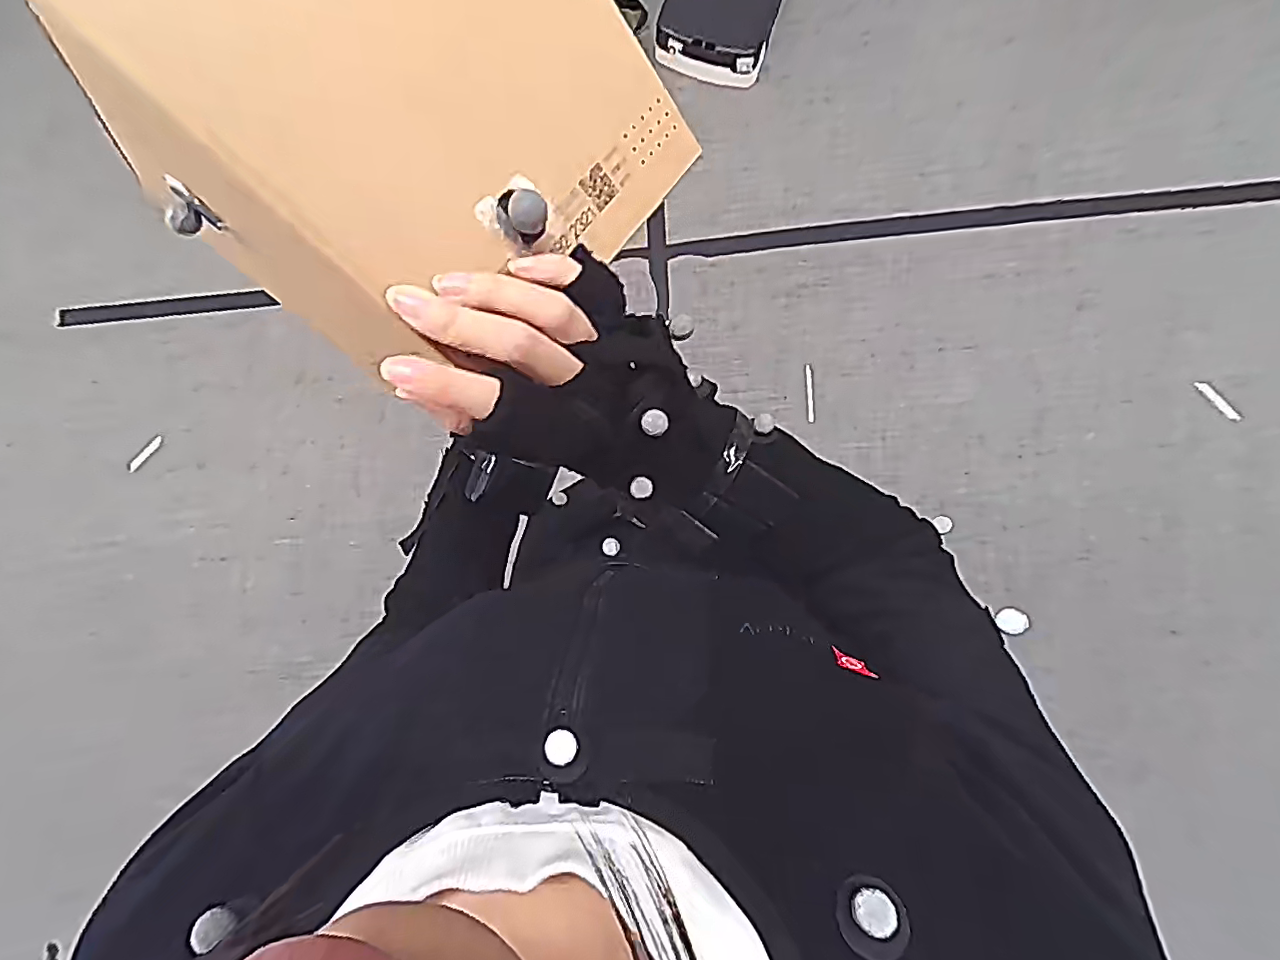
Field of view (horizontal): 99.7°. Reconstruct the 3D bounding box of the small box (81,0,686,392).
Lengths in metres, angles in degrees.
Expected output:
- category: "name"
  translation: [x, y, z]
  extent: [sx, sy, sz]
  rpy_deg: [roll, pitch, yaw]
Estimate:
- category: "small box"
  translation: [-0.112, -0.161, 0.287]
  extent: [0.176, 0.179, 0.168]
  rpy_deg: [44, 74, -30]
